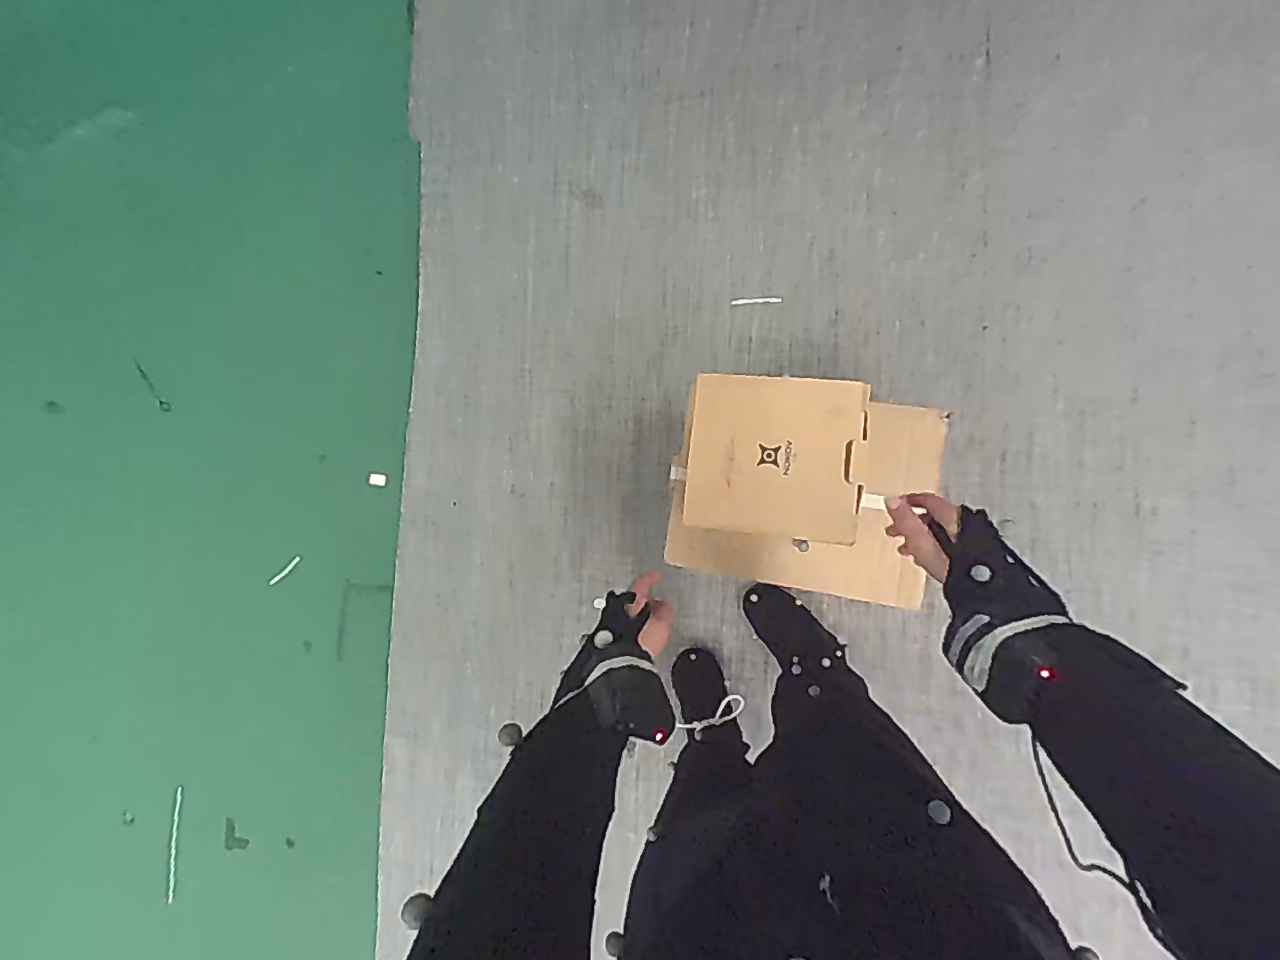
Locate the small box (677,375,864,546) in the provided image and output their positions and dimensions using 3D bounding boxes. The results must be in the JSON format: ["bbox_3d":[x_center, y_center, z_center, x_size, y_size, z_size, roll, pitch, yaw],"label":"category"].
[{"bbox_3d":[0.150,-0.019,0.630,0.179,0.176,0.168,5,87,14],"label":"small box"}]

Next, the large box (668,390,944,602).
[{"bbox_3d":[0.288,0.022,1.014,0.408,0.320,0.320,8,89,13],"label":"large box"}]
